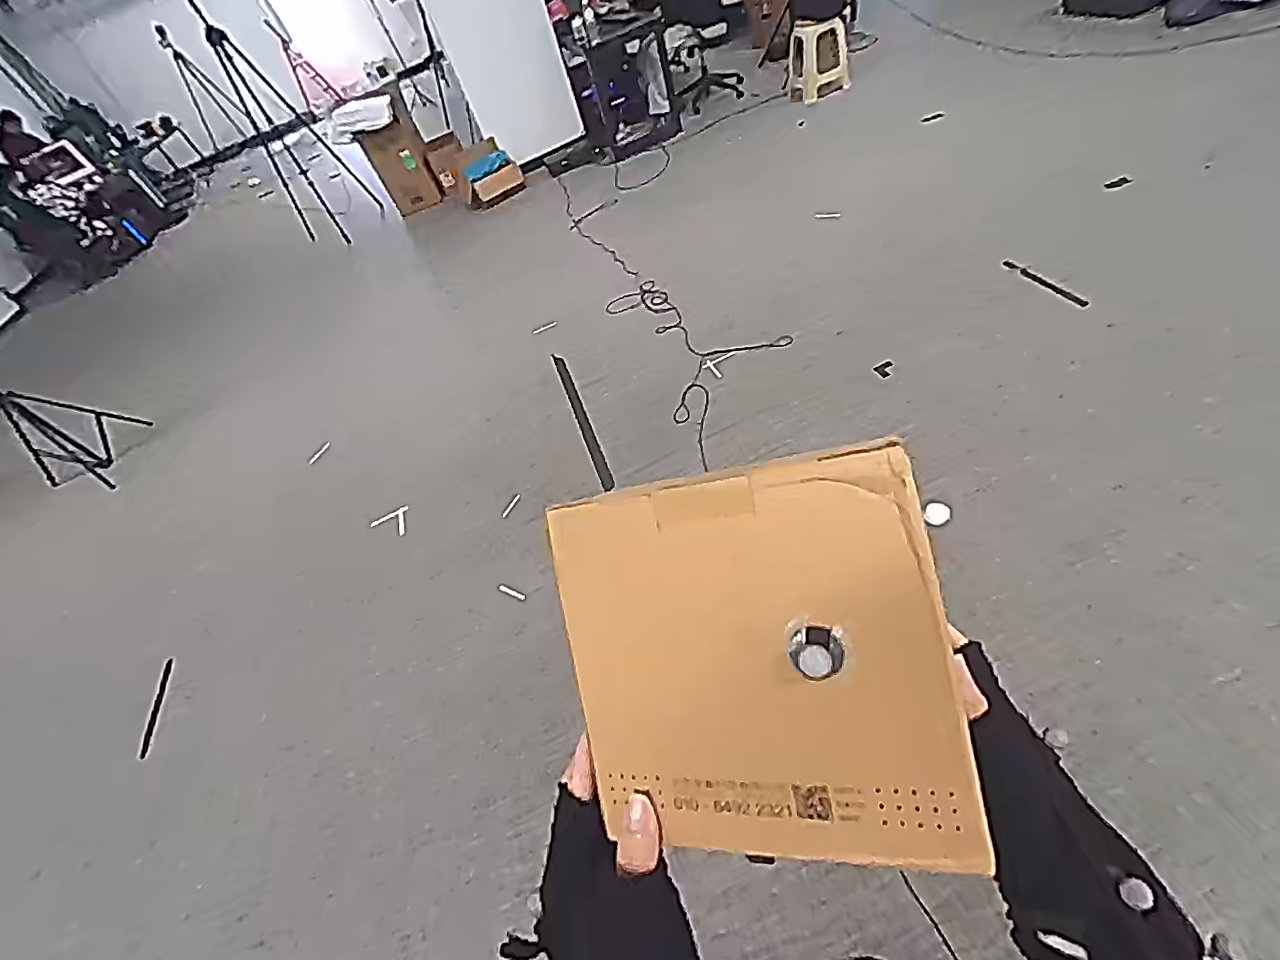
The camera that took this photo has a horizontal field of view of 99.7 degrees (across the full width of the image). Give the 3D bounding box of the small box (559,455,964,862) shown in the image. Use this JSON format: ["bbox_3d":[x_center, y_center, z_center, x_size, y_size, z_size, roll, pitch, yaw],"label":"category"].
[{"bbox_3d":[0.080,0.087,0.326,0.168,0.179,0.176,-11,89,25],"label":"small box"}]
